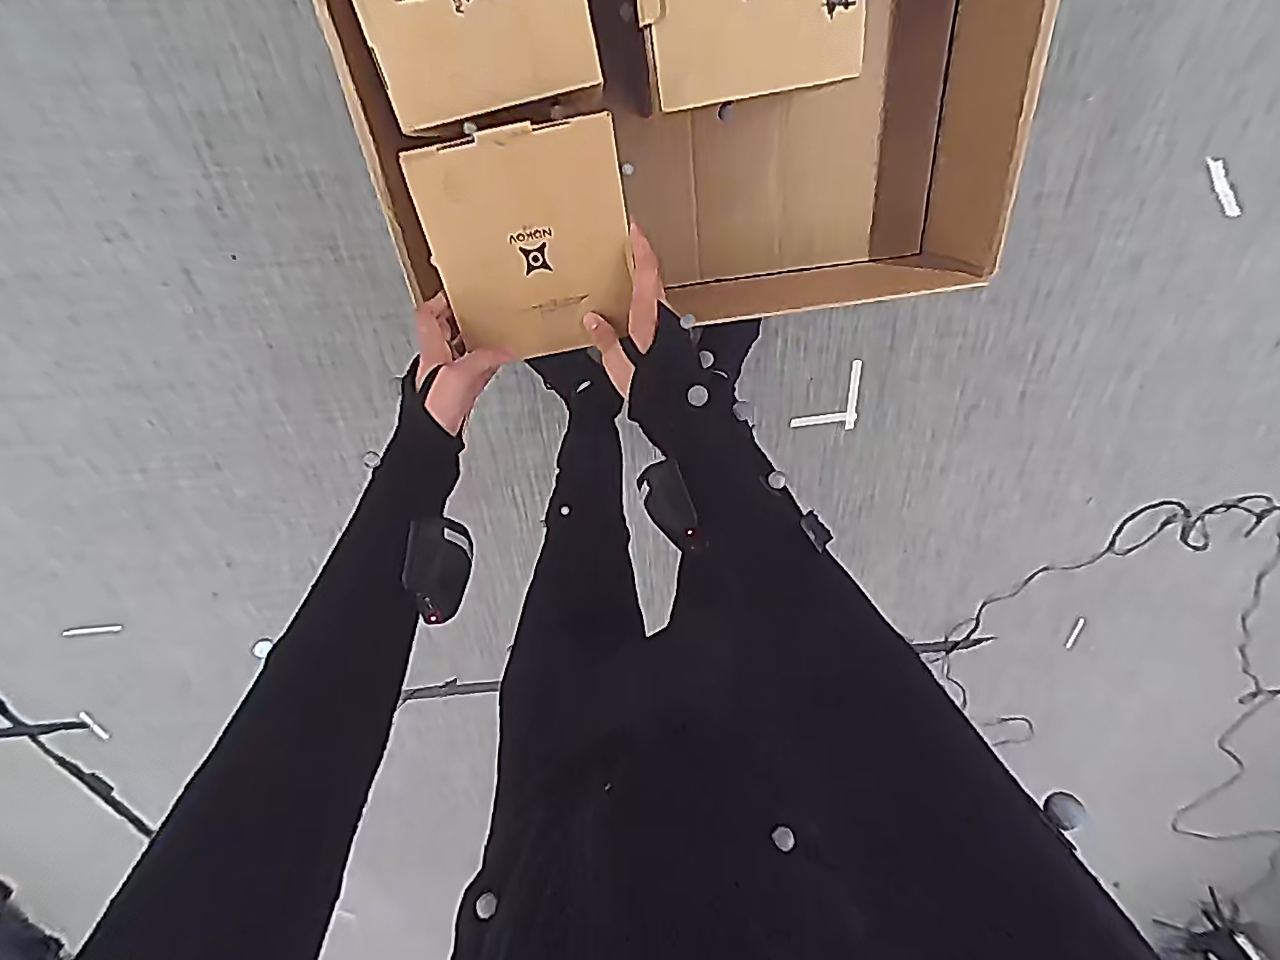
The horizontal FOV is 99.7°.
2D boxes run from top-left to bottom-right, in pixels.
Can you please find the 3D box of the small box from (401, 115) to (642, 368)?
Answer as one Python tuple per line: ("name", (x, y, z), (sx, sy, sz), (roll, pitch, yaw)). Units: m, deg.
("small box", (-0.098, -0.232, 0.518), (0.168, 0.176, 0.179), (-10, 125, 1))
